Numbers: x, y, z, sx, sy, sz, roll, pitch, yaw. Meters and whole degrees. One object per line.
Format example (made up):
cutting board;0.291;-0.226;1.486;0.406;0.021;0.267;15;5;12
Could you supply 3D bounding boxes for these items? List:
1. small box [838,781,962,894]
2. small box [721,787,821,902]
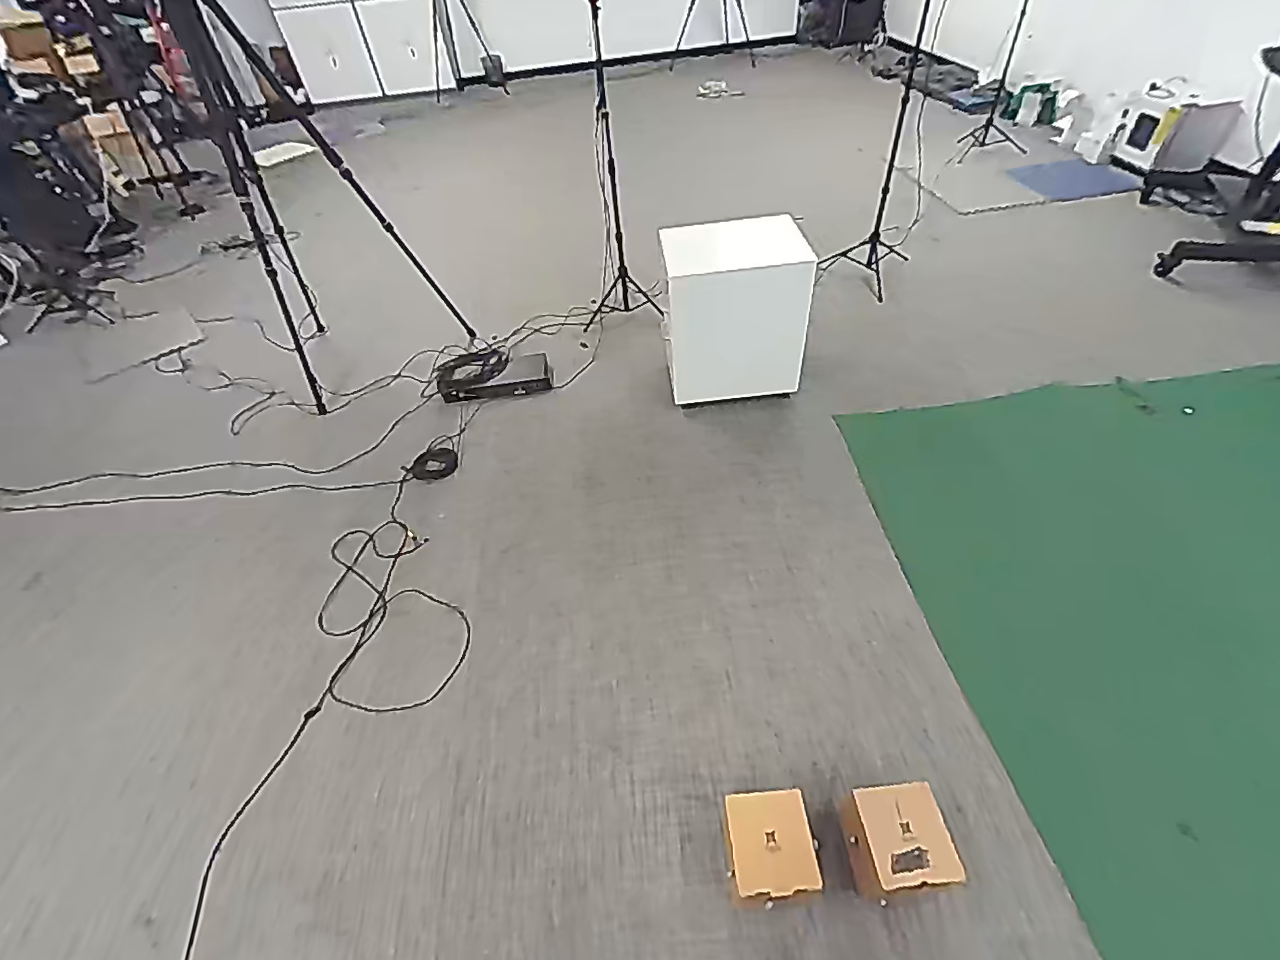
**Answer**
small box;0.538;0.761;1.147;0.168;0.176;0.179;-6;47;1
small box;0.270;0.780;1.157;0.168;0.176;0.179;-5;48;1
